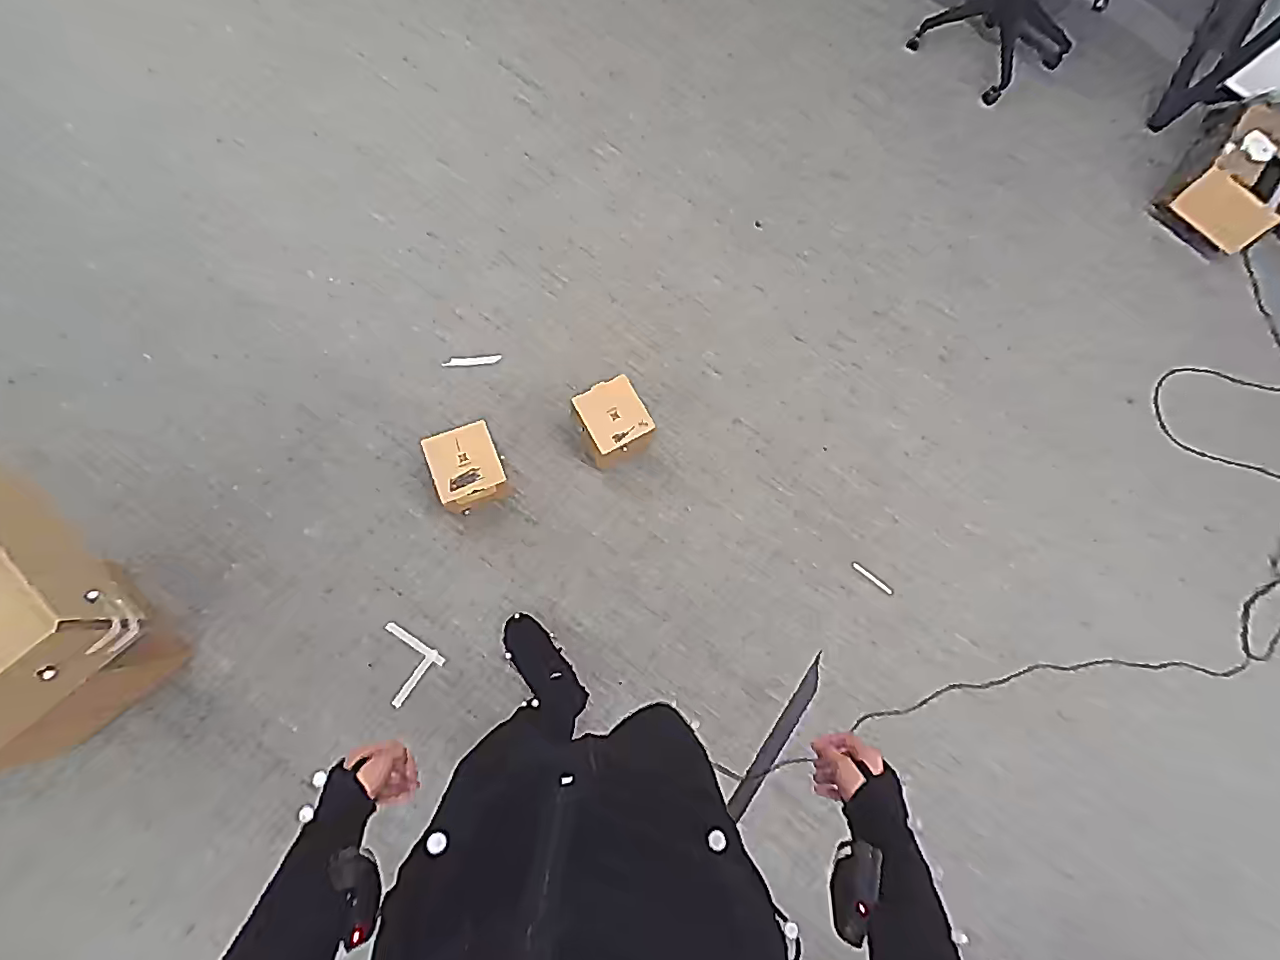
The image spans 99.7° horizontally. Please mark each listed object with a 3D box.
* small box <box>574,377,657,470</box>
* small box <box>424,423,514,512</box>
[{"bbox_3d":[-0.075,-0.151,1.499,0.168,0.176,0.179,-28,81,-13],"label":"small box"},{"bbox_3d":[-0.441,-0.024,1.420,0.168,0.176,0.179,-21,80,-12],"label":"small box"}]
